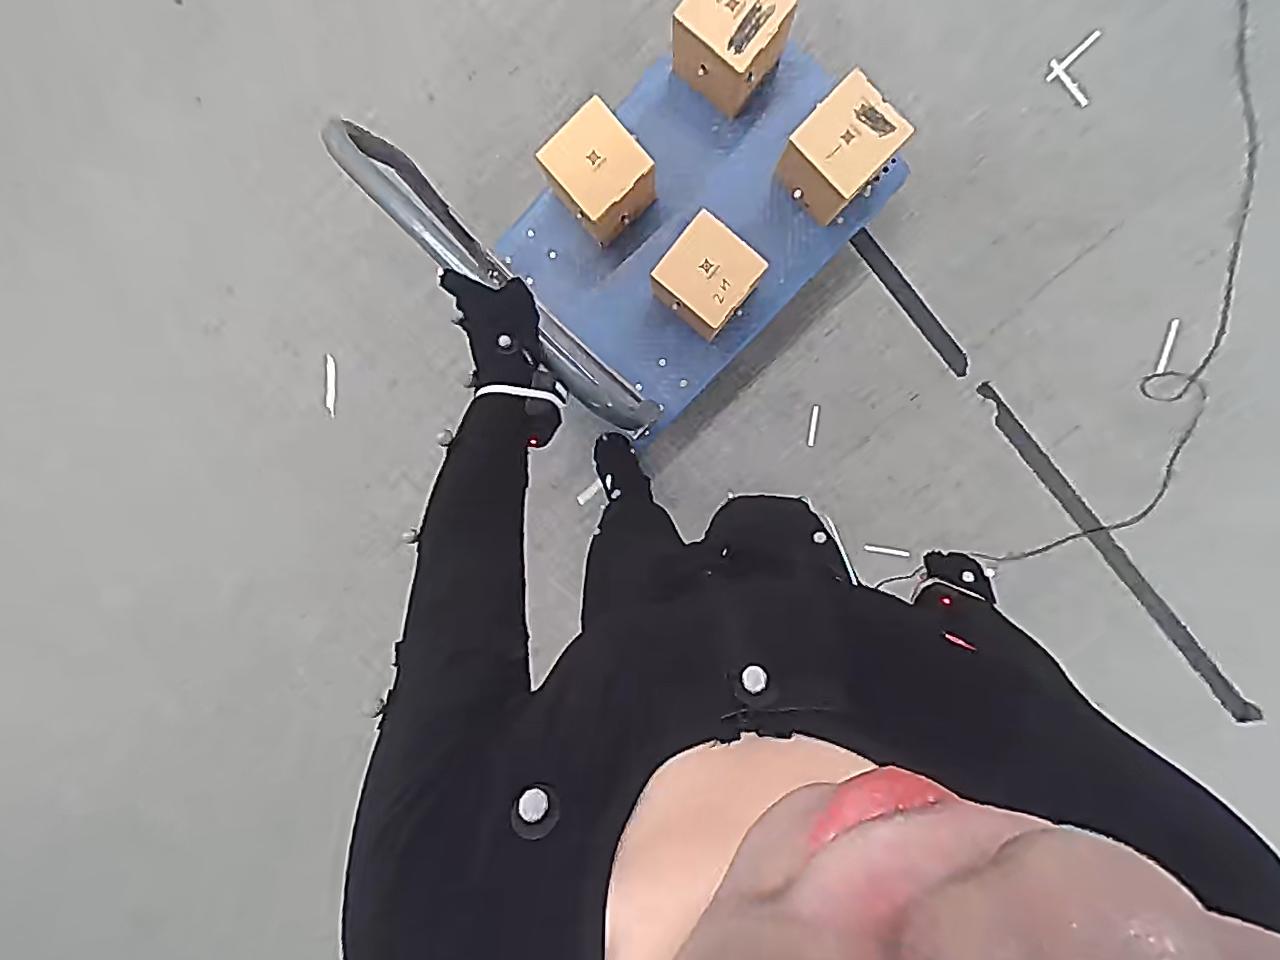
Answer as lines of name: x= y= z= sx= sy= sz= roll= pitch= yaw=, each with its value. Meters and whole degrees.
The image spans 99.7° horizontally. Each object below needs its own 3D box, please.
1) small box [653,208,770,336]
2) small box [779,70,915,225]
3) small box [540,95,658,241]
small box: x=0.144 y=-0.429 z=1.151 sx=0.179 sy=0.176 sz=0.168 roll=41 pitch=97 yaw=-2
small box: x=0.411 y=-0.669 z=1.110 sx=0.179 sy=0.176 sz=0.168 roll=-44 pitch=93 yaw=8
small box: x=-0.080 y=-0.641 z=1.138 sx=0.168 sy=0.176 sz=0.179 roll=-42 pitch=95 yaw=6
